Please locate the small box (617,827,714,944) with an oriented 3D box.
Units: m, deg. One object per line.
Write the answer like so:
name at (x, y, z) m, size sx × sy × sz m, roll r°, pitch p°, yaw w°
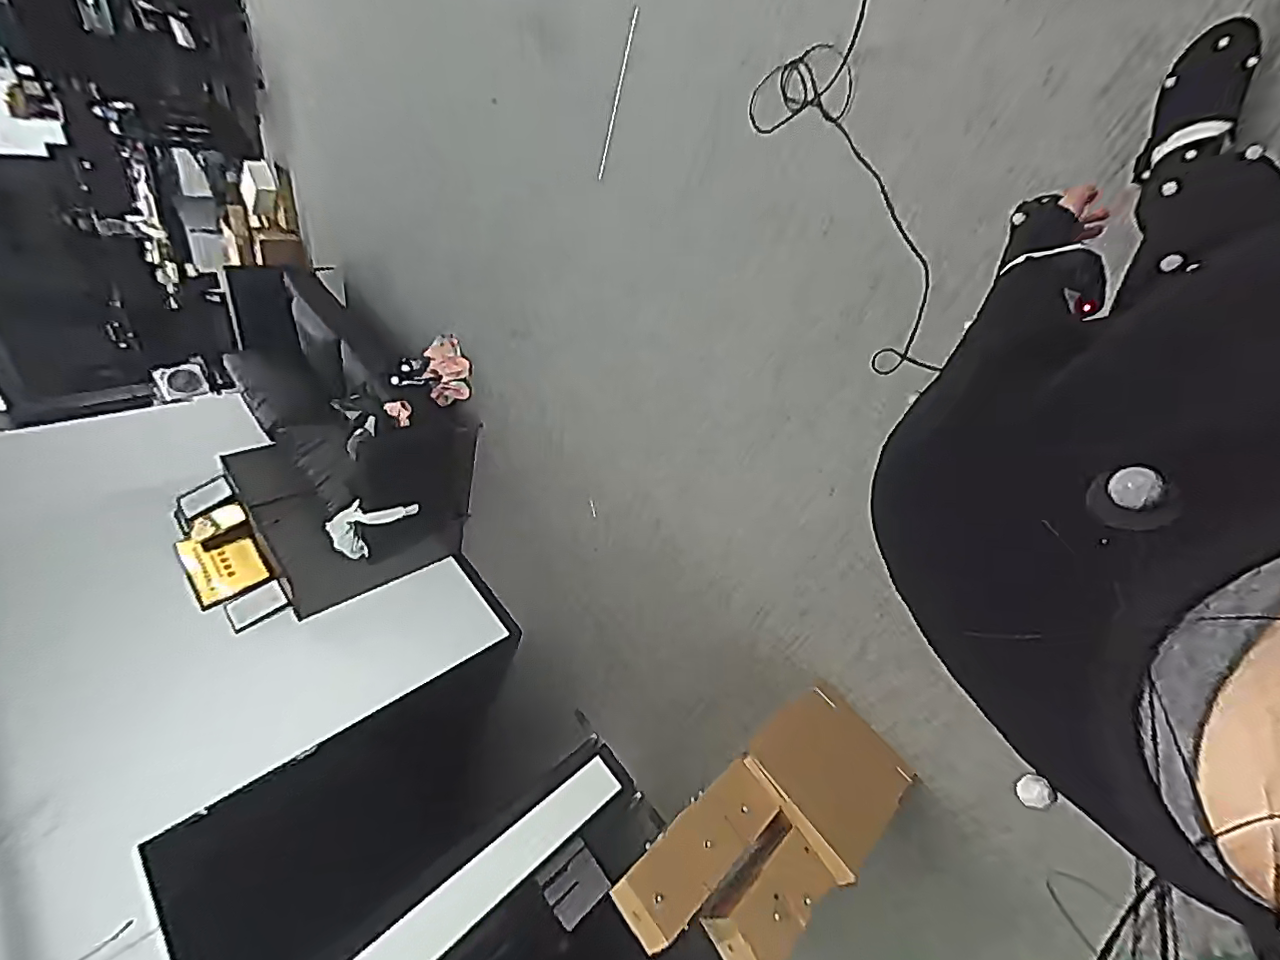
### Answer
small box at (0.071, 1.093, 1.463) m, size 0.179 × 0.176 × 0.168 m, roll 45°, pitch 135°, yaw 25°
